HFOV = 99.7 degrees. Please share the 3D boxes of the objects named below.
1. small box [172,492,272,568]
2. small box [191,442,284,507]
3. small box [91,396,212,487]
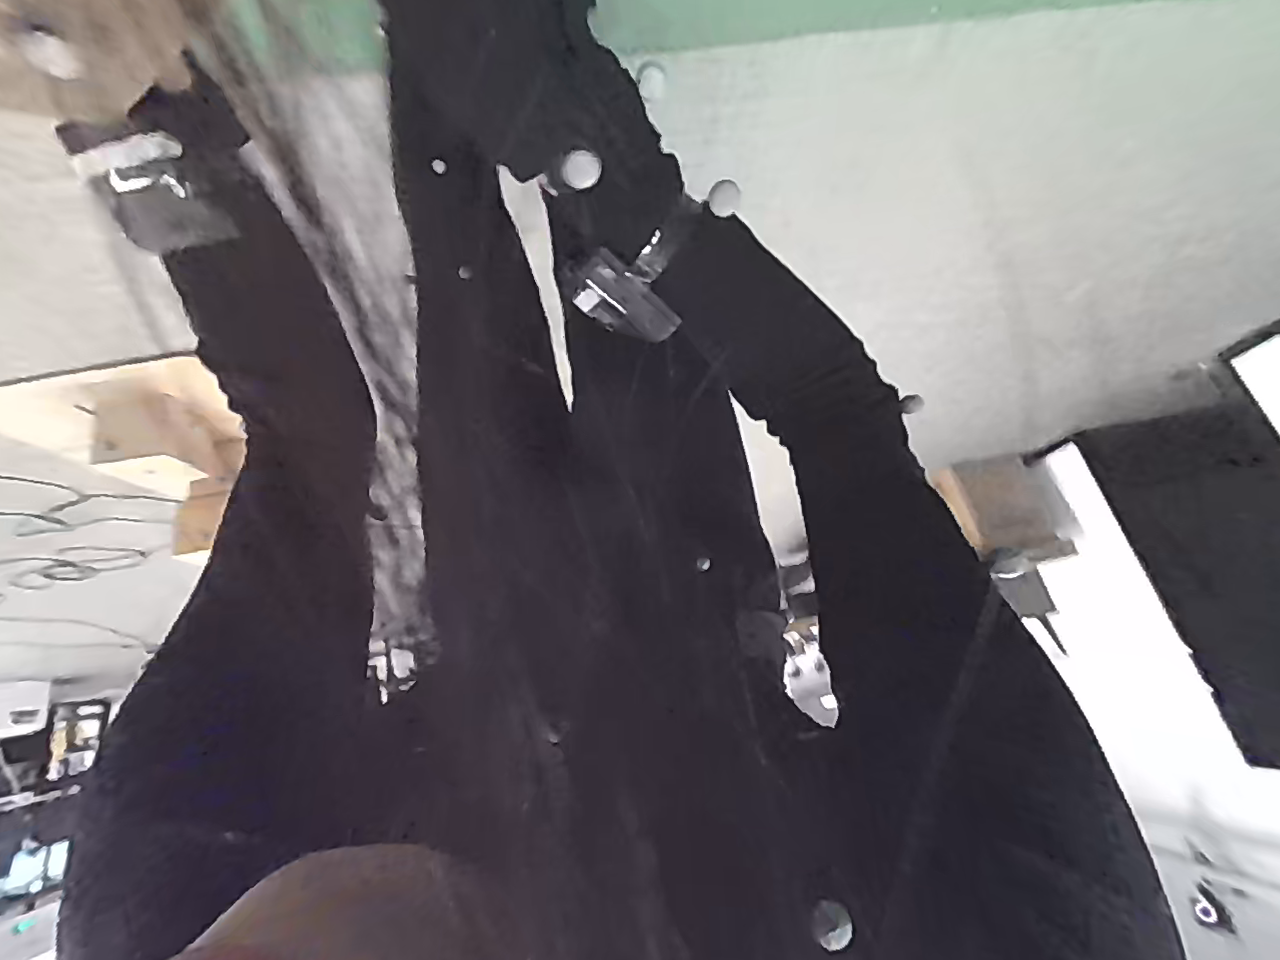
[{"bbox_3d":[-1.232,0.148,1.608,0.179,0.176,0.168,-11,160,-4],"label":"small box"},{"bbox_3d":[-1.237,-0.006,1.668,0.179,0.176,0.168,-12,161,-1],"label":"small box"},{"bbox_3d":[-1.255,-0.099,1.405,0.179,0.176,0.168,-10,162,-8],"label":"small box"}]
